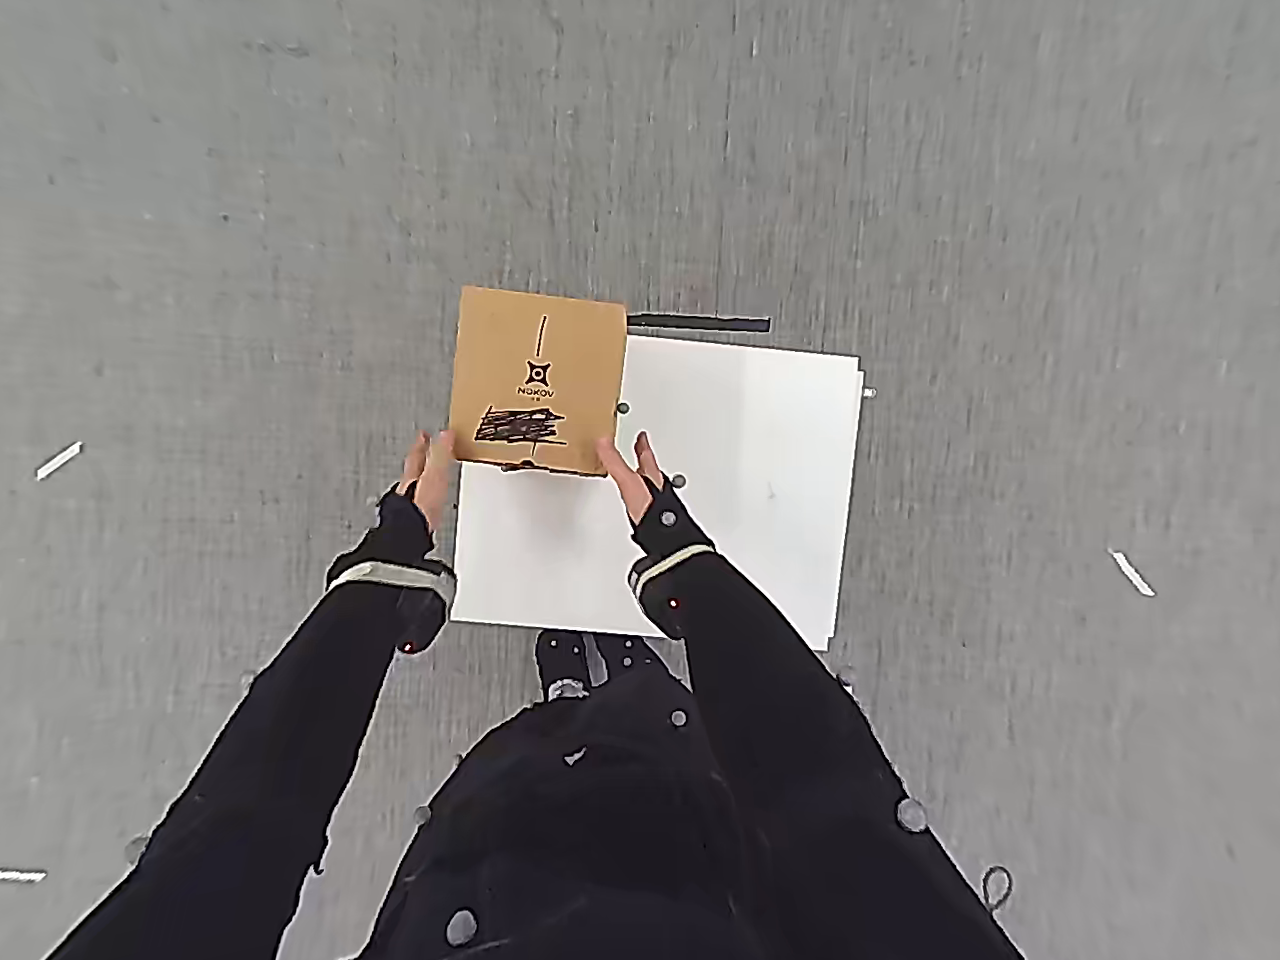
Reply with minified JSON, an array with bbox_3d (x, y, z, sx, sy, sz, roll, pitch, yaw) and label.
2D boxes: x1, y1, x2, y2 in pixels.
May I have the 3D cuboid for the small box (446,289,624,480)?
[{"bbox_3d":[-0.108,-0.099,0.621,0.168,0.176,0.179,6,92,-3],"label":"small box"}]
